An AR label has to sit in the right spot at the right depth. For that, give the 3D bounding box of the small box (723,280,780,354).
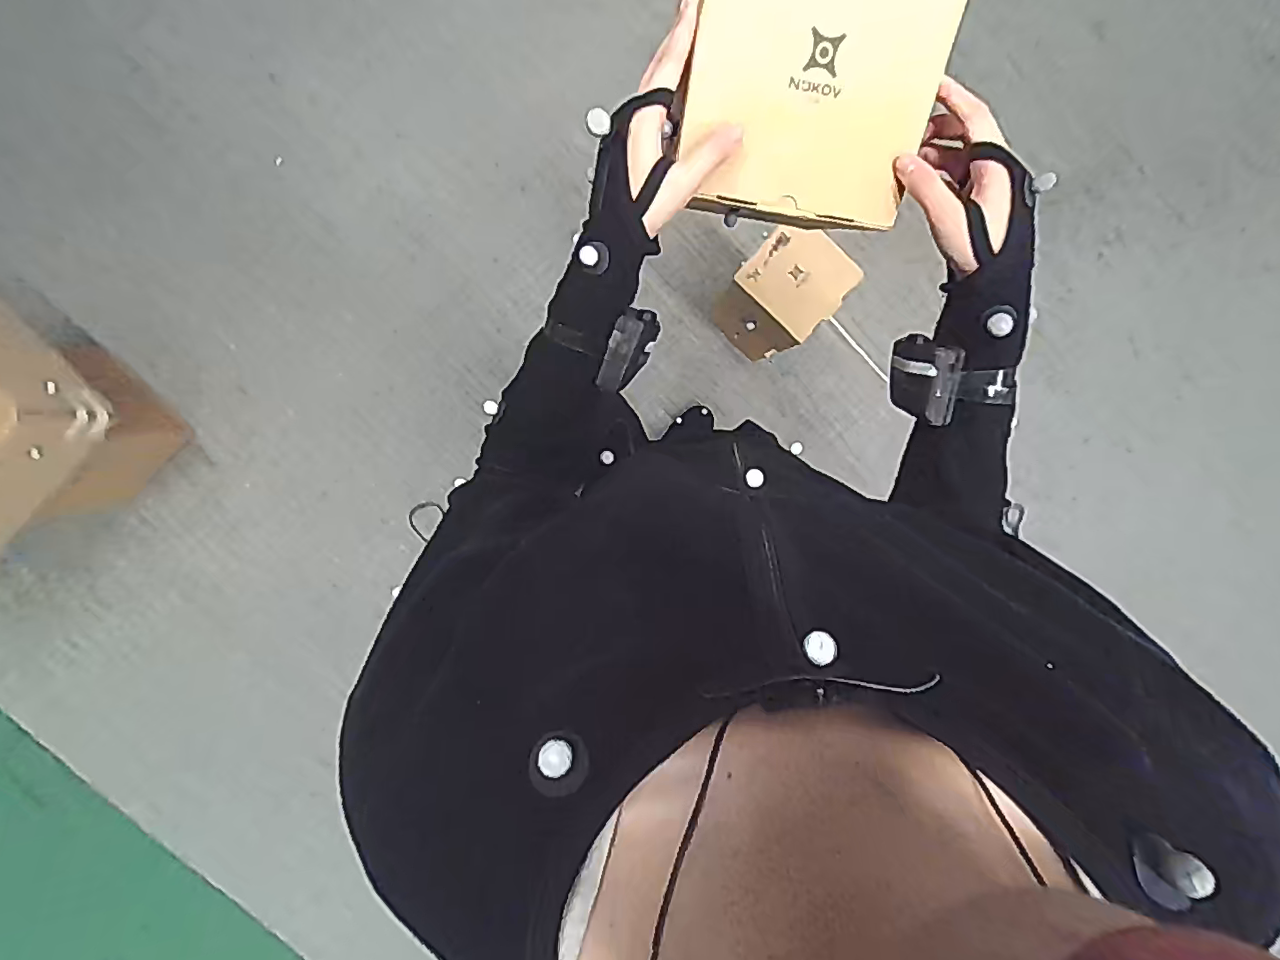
[{"bbox_3d":[0.302,-0.398,1.199,0.168,0.176,0.179,-44,94,7],"label":"small box"}]

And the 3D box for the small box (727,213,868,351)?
[{"bbox_3d":[0.291,-0.365,1.038,0.179,0.176,0.168,43,96,-4],"label":"small box"}]

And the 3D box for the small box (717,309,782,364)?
[{"bbox_3d":[0.312,-0.410,1.362,0.168,0.176,0.179,-45,94,6],"label":"small box"}]
